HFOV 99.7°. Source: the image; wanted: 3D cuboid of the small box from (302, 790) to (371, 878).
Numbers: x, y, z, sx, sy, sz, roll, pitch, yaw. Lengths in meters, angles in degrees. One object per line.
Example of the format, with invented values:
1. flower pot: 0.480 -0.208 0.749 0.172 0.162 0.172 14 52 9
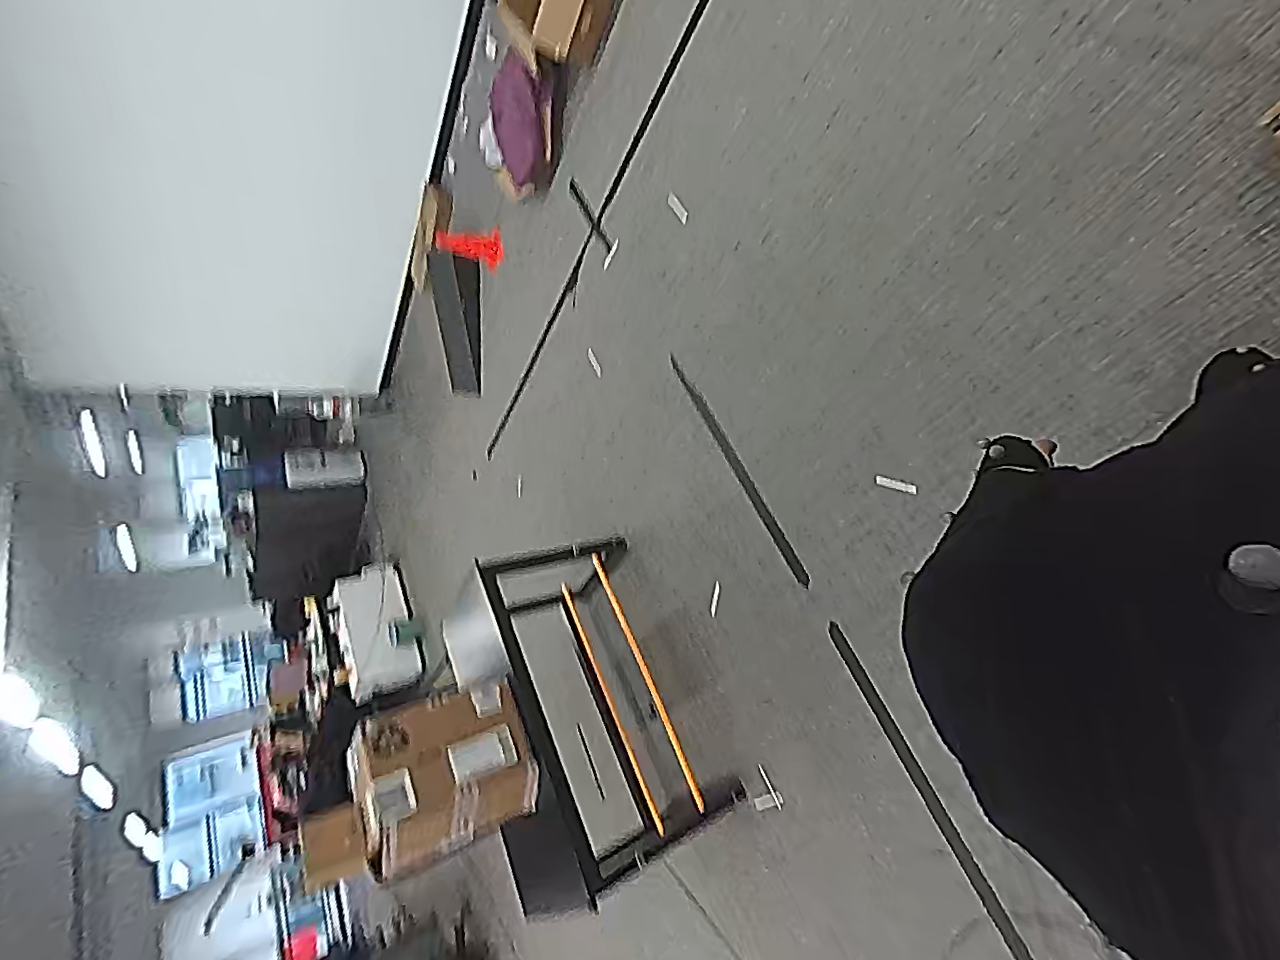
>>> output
1. small box: -0.961 1.120 1.712 0.168 0.176 0.179 60 138 28
